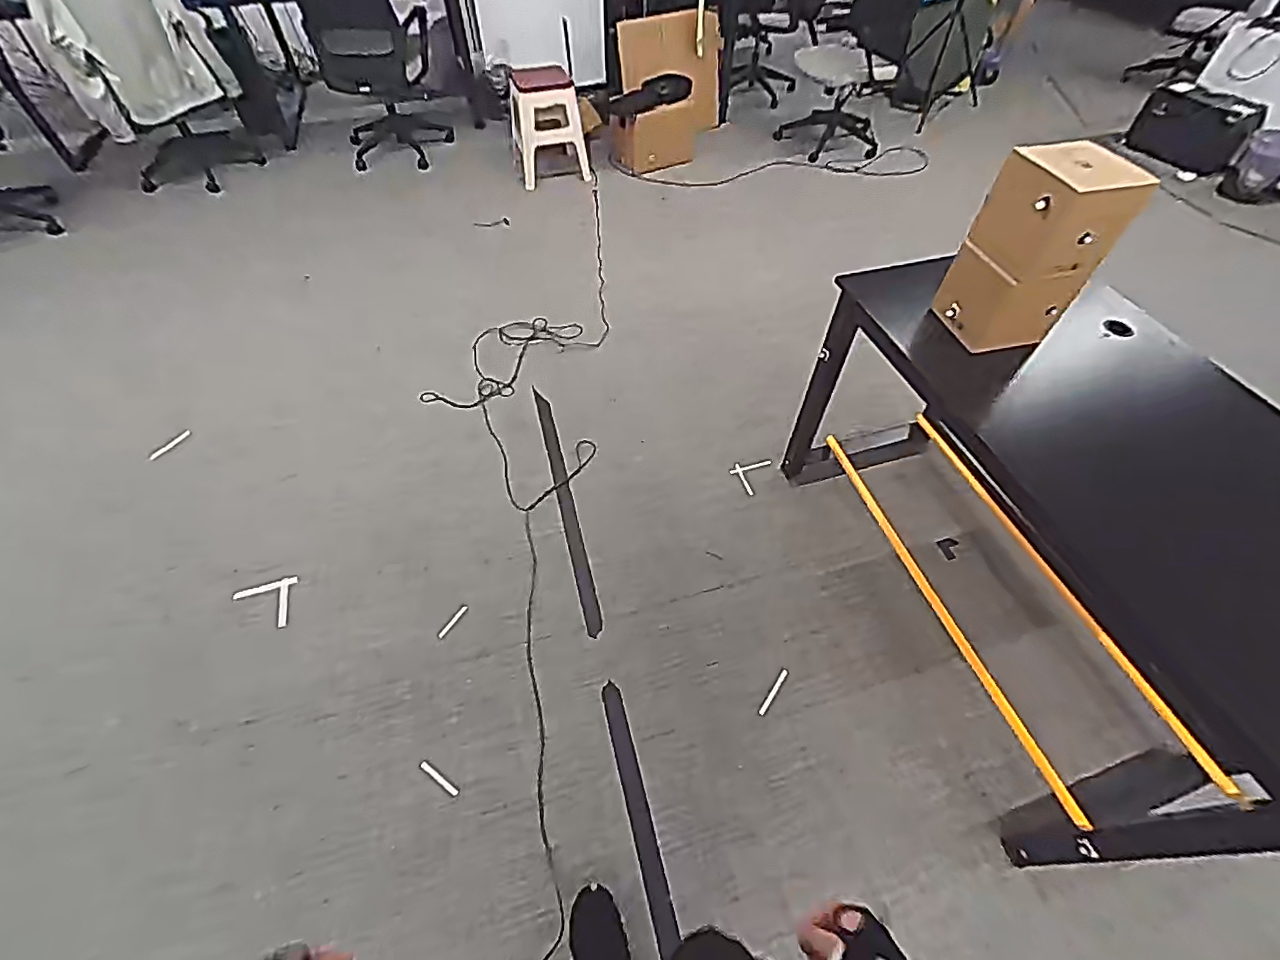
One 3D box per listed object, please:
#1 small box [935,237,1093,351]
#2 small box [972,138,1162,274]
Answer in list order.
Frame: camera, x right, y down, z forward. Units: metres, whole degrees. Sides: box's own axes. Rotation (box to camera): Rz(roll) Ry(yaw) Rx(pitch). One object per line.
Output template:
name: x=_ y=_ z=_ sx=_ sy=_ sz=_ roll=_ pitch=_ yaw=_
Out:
small box: x=0.760 y=-0.392 z=1.122 sx=0.179 sy=0.176 sz=0.168 roll=-12 pitch=53 yaw=-8
small box: x=0.766 y=-0.496 z=0.994 sx=0.168 sy=0.176 sz=0.179 roll=-11 pitch=53 yaw=-9
